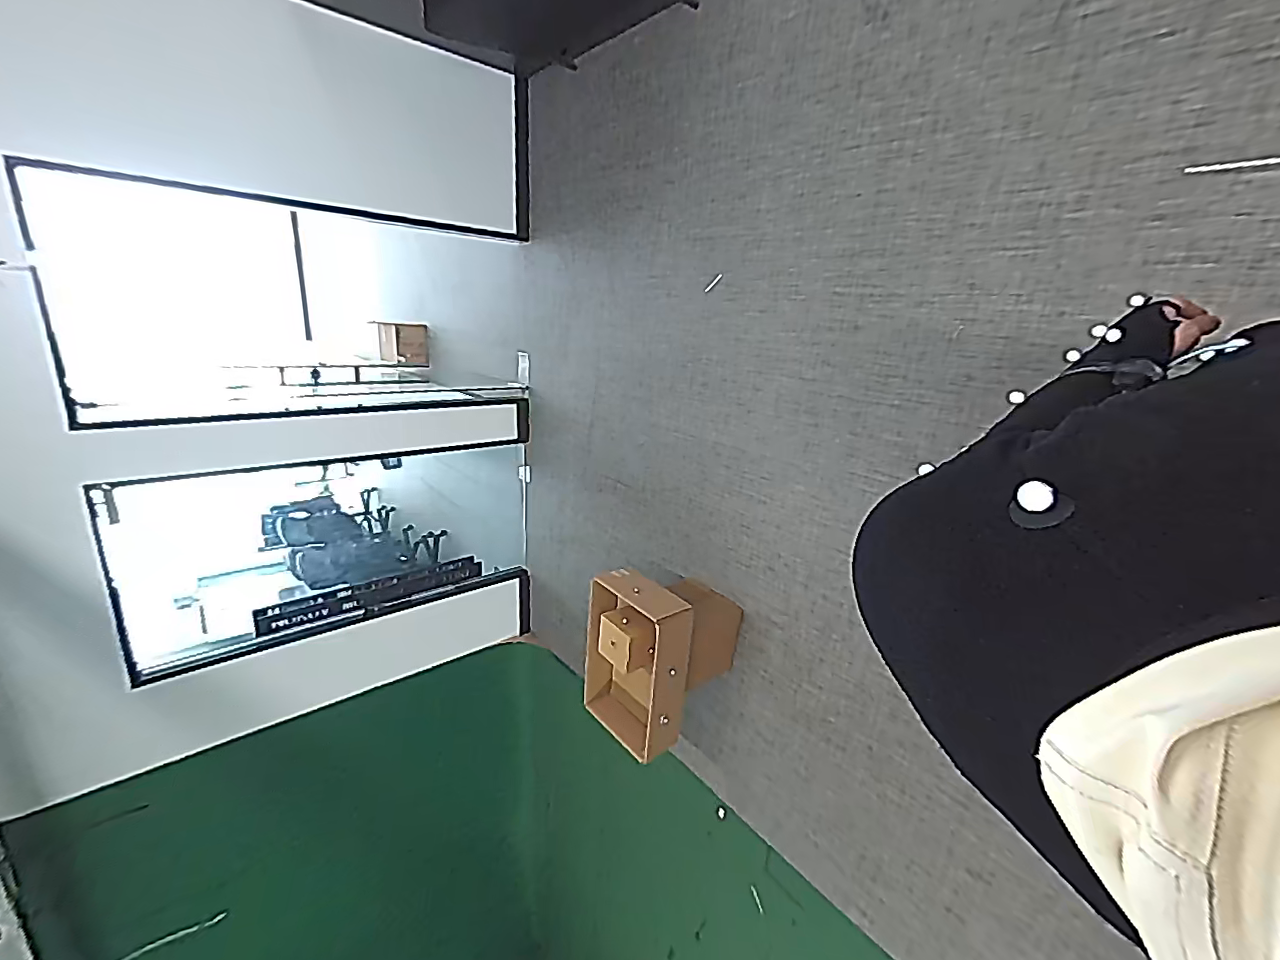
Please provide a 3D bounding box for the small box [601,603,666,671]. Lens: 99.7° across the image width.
[{"bbox_3d":[-0.027,0.587,2.054,0.179,0.176,0.168,24,115,45],"label":"small box"}]
